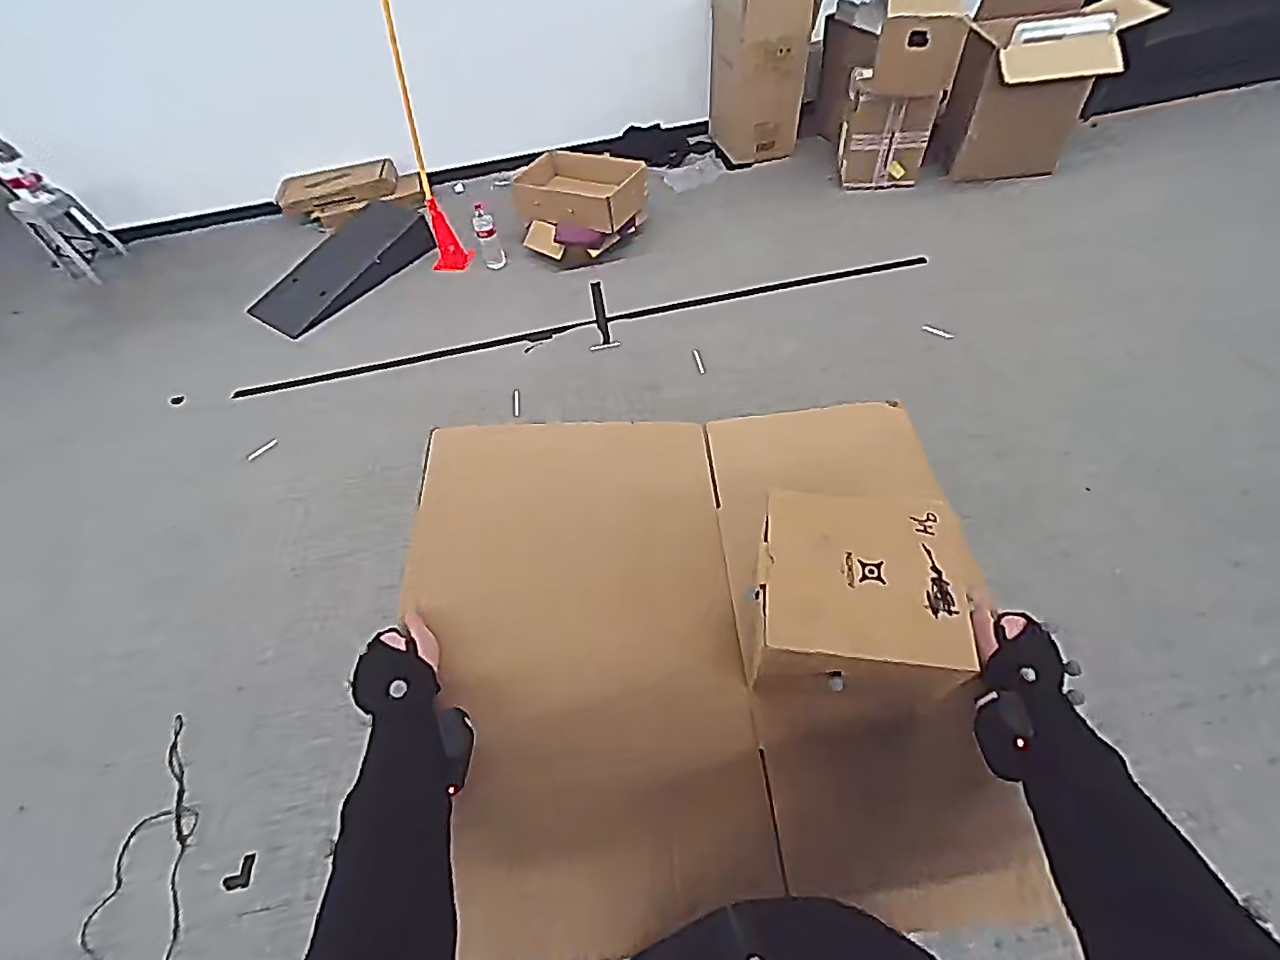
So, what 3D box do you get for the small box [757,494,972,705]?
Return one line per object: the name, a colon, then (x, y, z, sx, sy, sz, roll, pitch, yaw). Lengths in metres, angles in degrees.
small box: (0.217, 0.131, 0.575, 0.179, 0.176, 0.168, 3, 57, 11)
